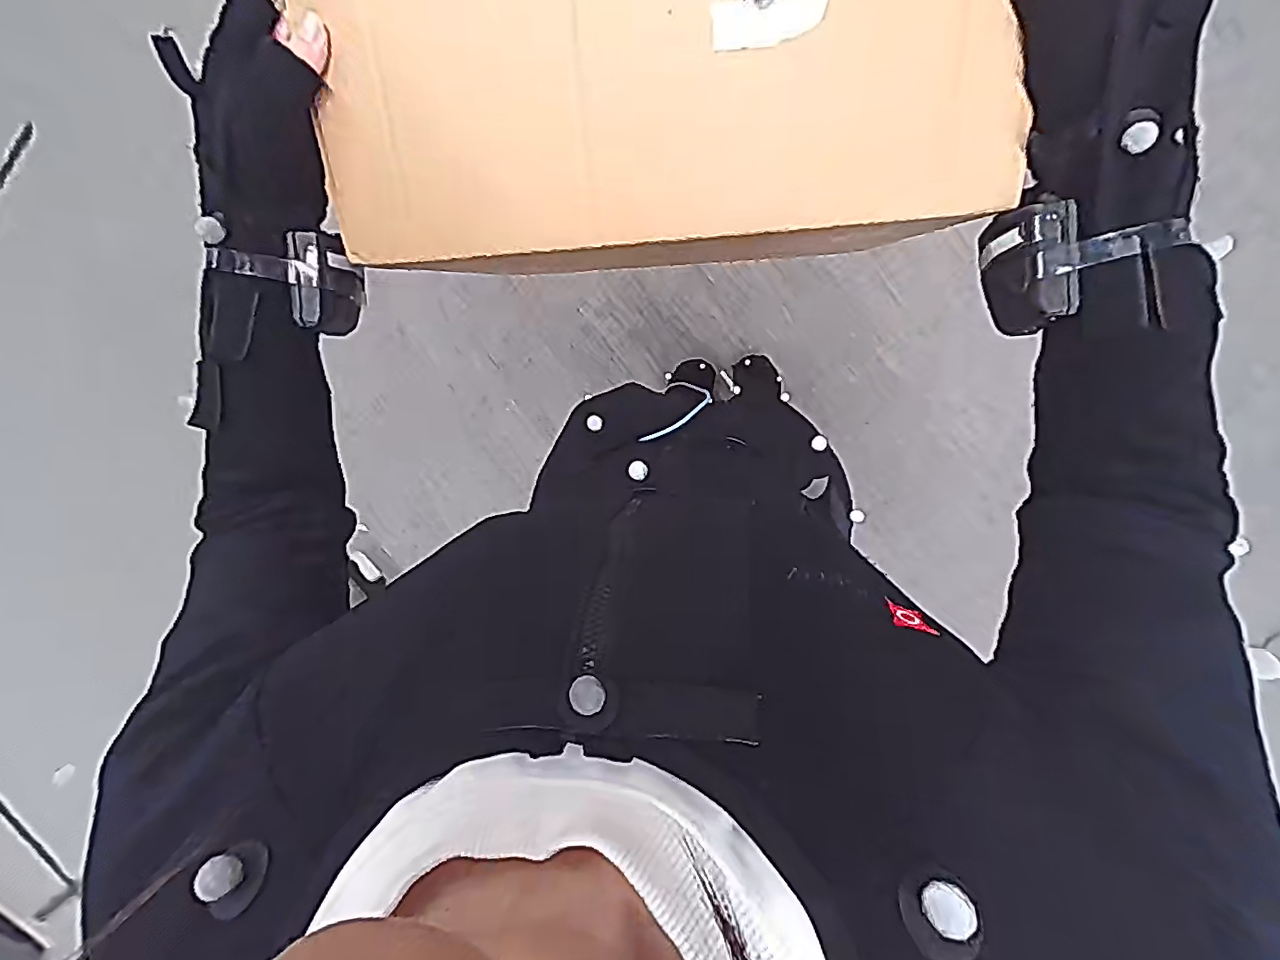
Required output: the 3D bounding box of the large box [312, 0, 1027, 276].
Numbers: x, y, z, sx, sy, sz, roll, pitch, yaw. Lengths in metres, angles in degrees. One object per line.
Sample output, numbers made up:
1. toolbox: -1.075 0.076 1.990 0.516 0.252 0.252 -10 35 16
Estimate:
1. large box: 0.017 -0.350 0.429 0.408 0.320 0.320 -3 110 8
